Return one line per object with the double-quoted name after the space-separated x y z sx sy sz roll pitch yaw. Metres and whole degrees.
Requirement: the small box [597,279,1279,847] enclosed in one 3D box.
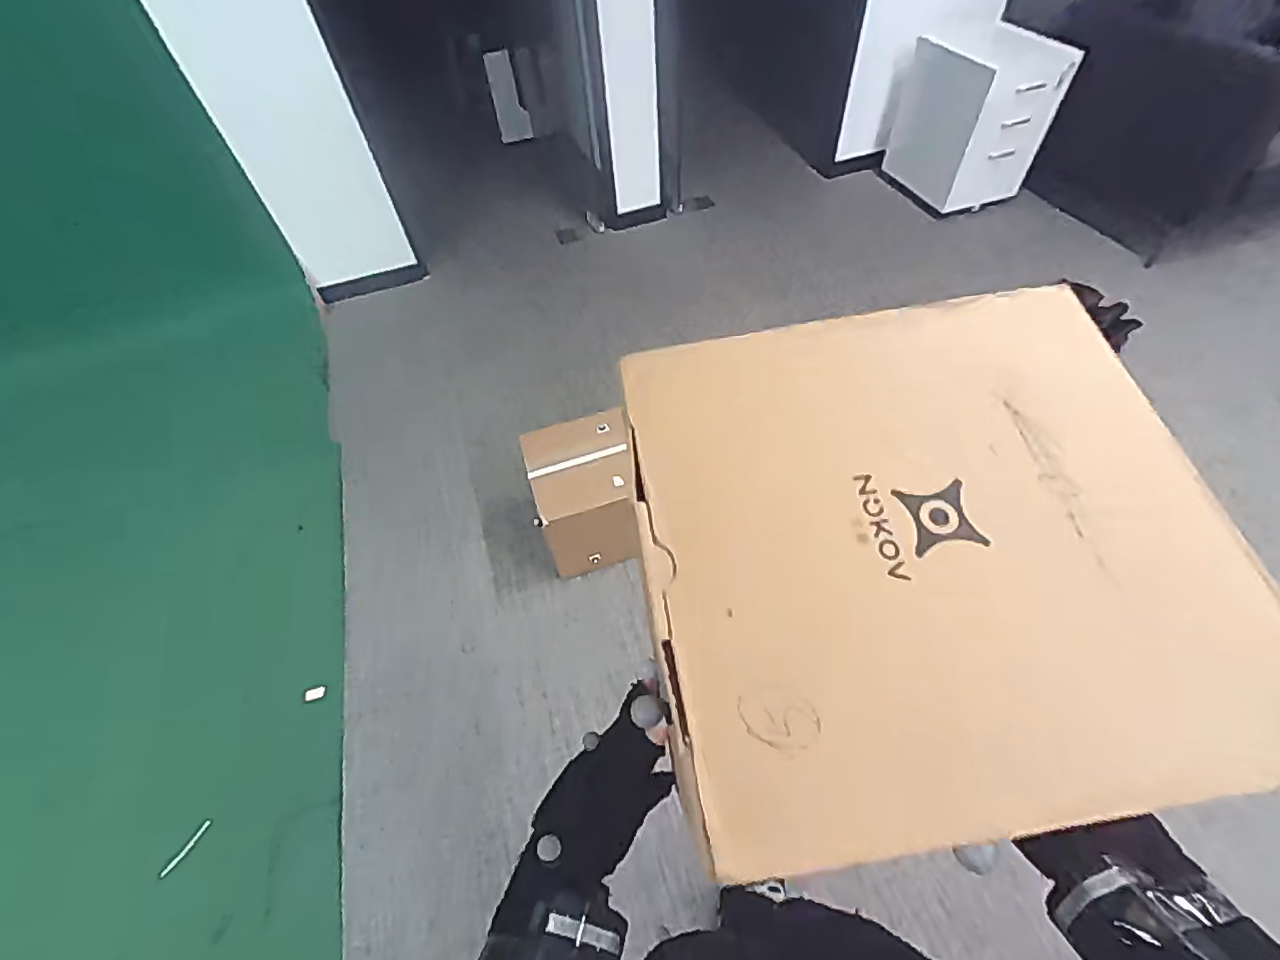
0.087 0.043 0.247 0.179 0.176 0.168 -11 65 -2 "small box"
